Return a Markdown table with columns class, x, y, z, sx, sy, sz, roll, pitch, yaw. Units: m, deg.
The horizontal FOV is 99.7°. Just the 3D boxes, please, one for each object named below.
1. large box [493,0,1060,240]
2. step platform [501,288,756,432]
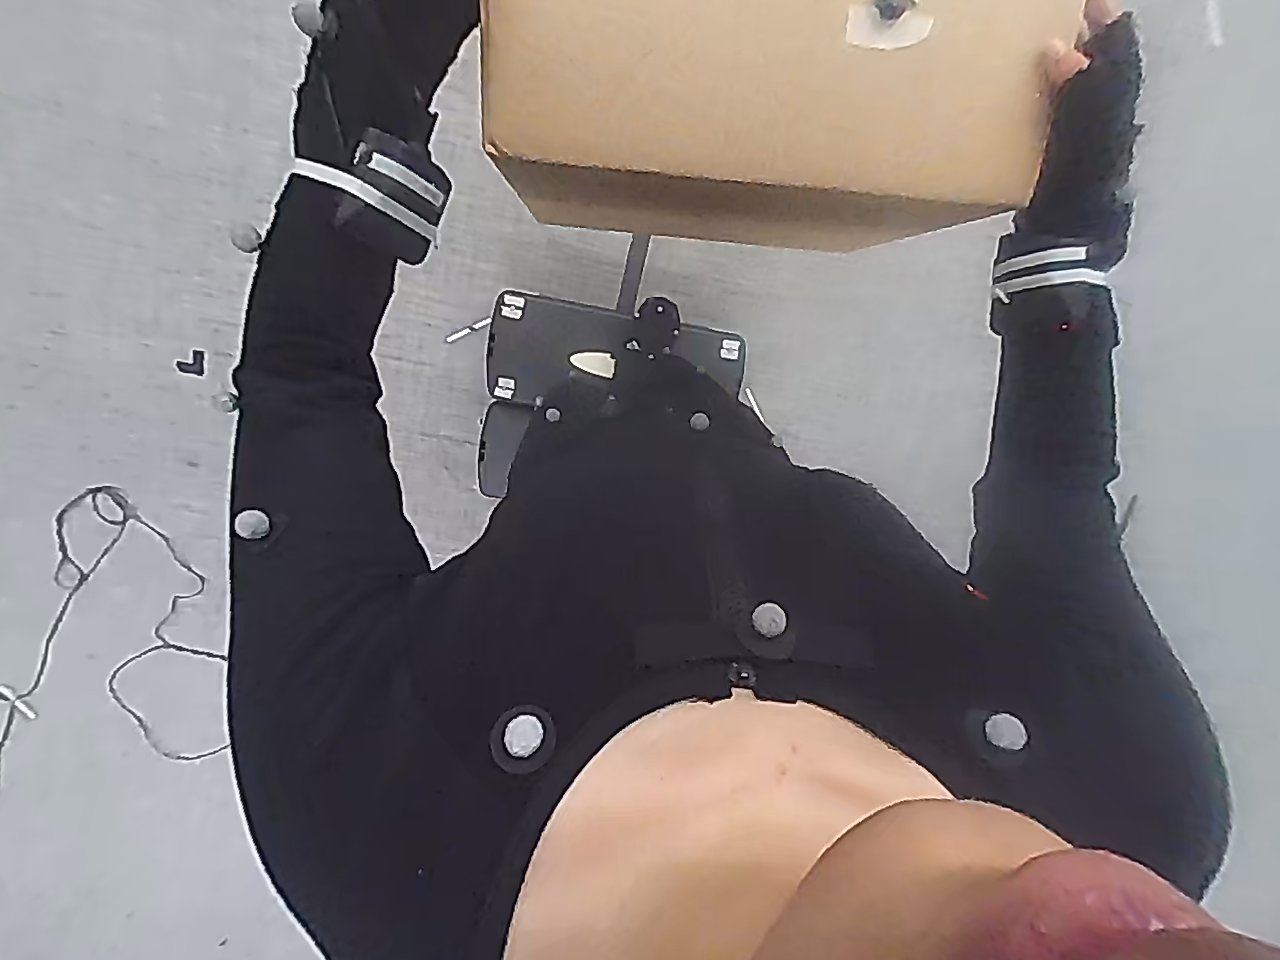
| class | x | y | z | sx | sy | sz | roll | pitch | yaw |
| --- | --- | --- | --- | --- | --- | --- | --- | --- | --- |
| large box | 0.090 | -0.419 | 0.500 | 0.408 | 0.320 | 0.320 | 3 | 108 | -5 |
| step platform | -0.032 | -0.325 | 1.494 | 0.684 | 0.204 | 0.286 | 8 | 105 | -8 |
